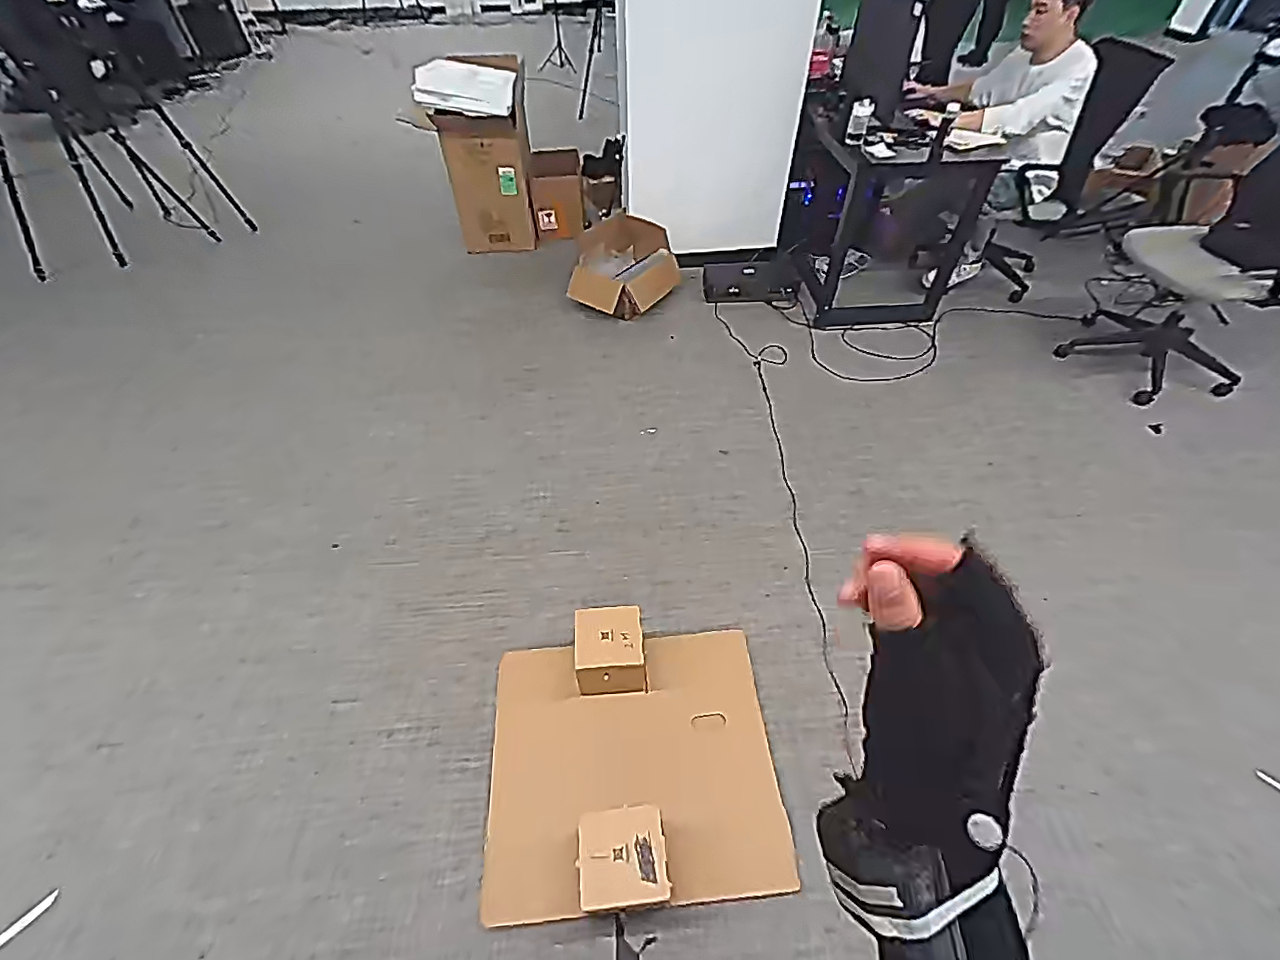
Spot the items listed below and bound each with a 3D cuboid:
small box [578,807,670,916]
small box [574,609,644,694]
[{"bbox_3d":[-0.036,0.809,1.145,0.179,0.176,0.168,-5,49,-4],"label":"small box"},{"bbox_3d":[-0.080,0.464,1.450,0.179,0.176,0.168,-2,48,-3],"label":"small box"}]
